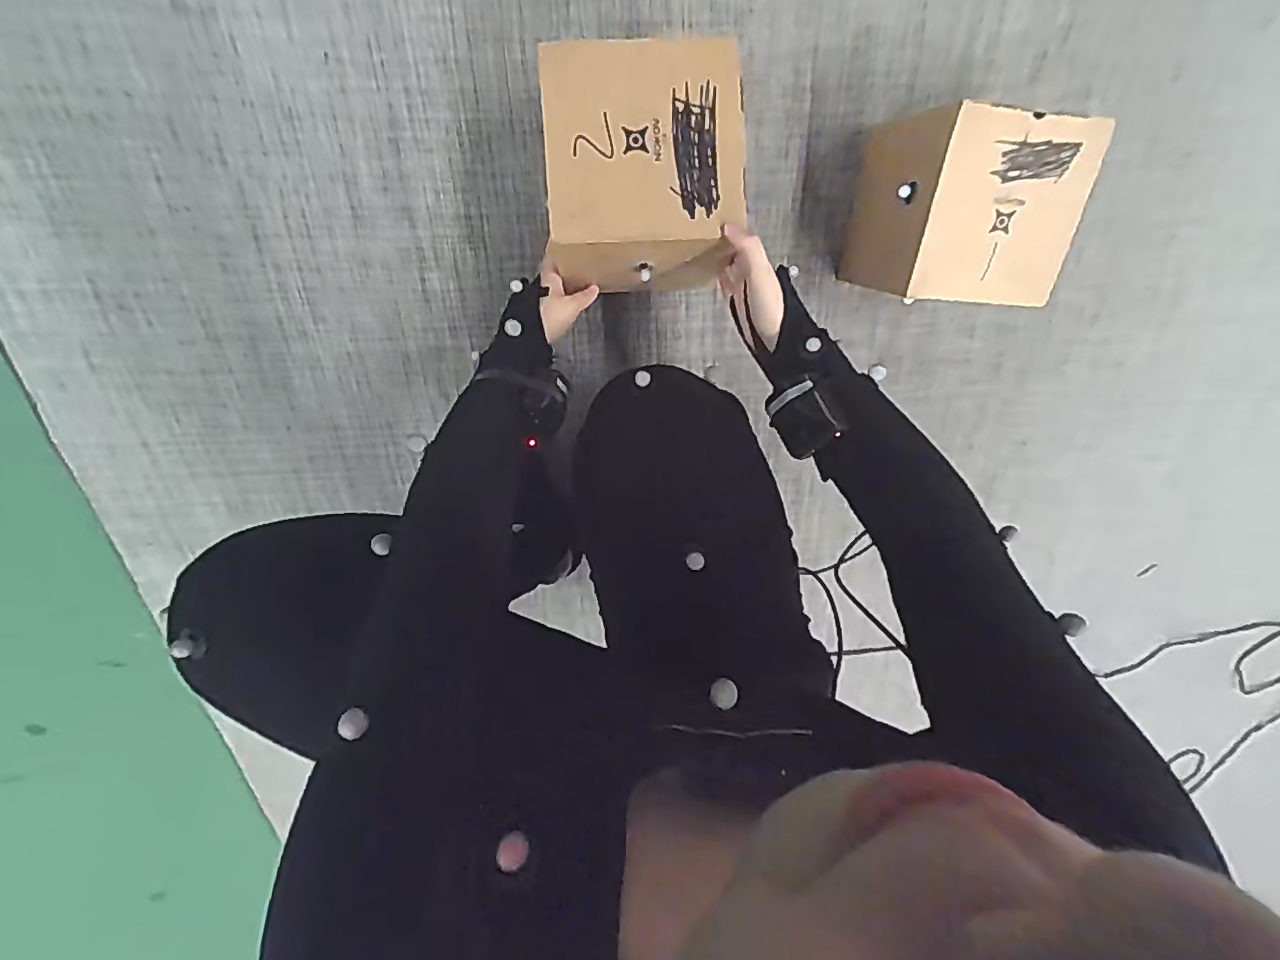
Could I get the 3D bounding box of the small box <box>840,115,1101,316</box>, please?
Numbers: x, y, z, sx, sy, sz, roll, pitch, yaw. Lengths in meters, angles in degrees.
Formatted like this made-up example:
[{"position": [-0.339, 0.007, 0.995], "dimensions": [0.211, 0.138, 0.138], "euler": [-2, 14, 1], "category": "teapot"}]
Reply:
[{"position": [0.354, -0.293, 0.620], "dimensions": [0.168, 0.176, 0.179], "euler": [1, 115, -7], "category": "small box"}]
